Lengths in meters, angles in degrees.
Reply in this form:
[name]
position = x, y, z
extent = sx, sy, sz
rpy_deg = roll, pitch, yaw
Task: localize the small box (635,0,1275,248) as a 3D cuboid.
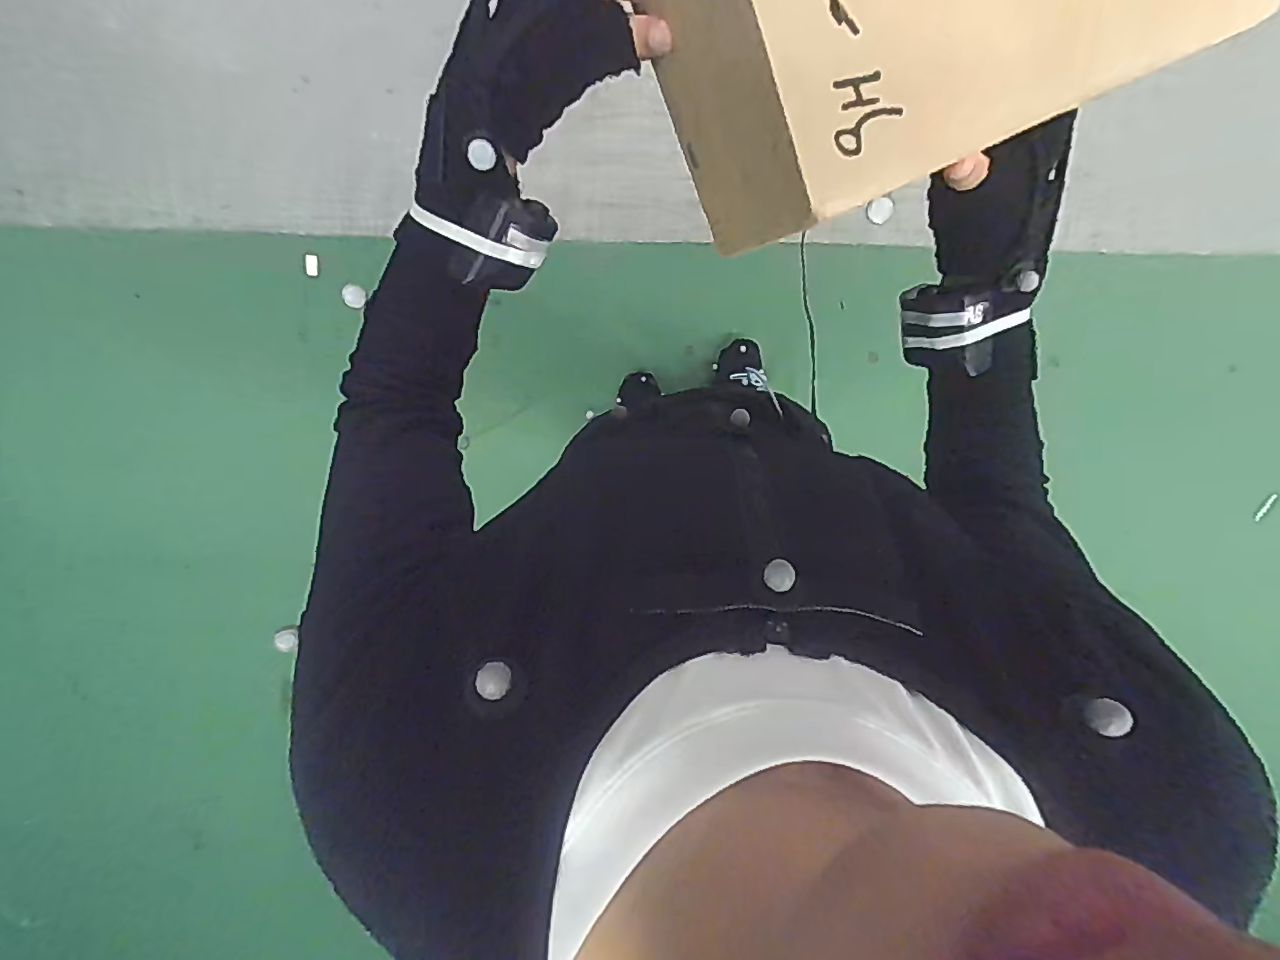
[small box]
position = 0.106, -0.222, 0.243
extent = 0.179, 0.176, 0.168
rpy_deg = -22, 109, 3
